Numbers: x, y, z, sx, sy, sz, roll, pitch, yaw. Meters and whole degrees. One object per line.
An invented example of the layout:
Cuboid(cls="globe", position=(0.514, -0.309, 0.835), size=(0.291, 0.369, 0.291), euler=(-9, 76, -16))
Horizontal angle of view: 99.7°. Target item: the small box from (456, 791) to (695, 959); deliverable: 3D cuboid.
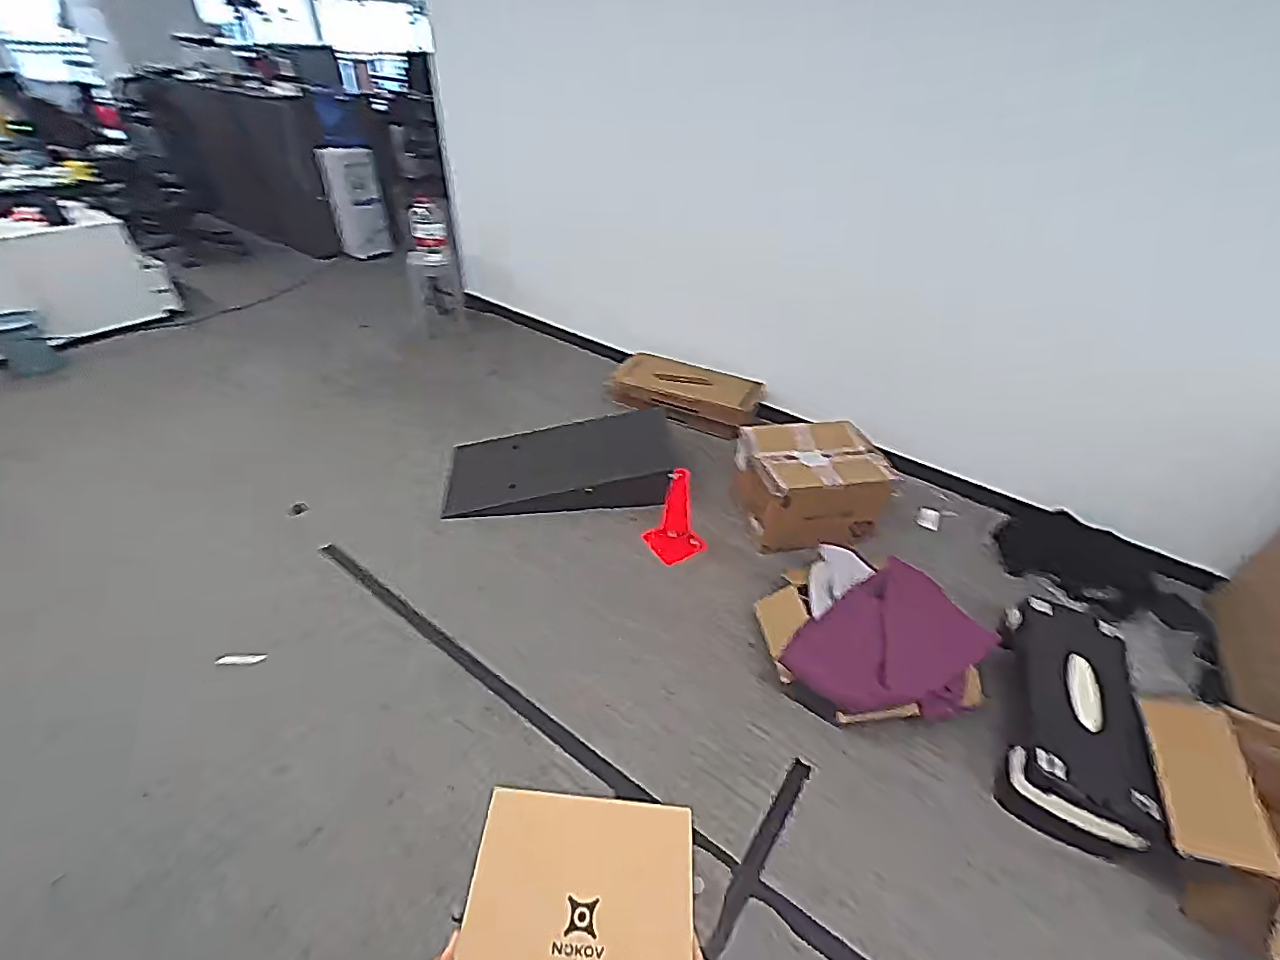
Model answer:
Cuboid(cls="small box", position=(-0.051, 0.380, 0.430), size=(0.168, 0.176, 0.179), euler=(6, 41, -2))
